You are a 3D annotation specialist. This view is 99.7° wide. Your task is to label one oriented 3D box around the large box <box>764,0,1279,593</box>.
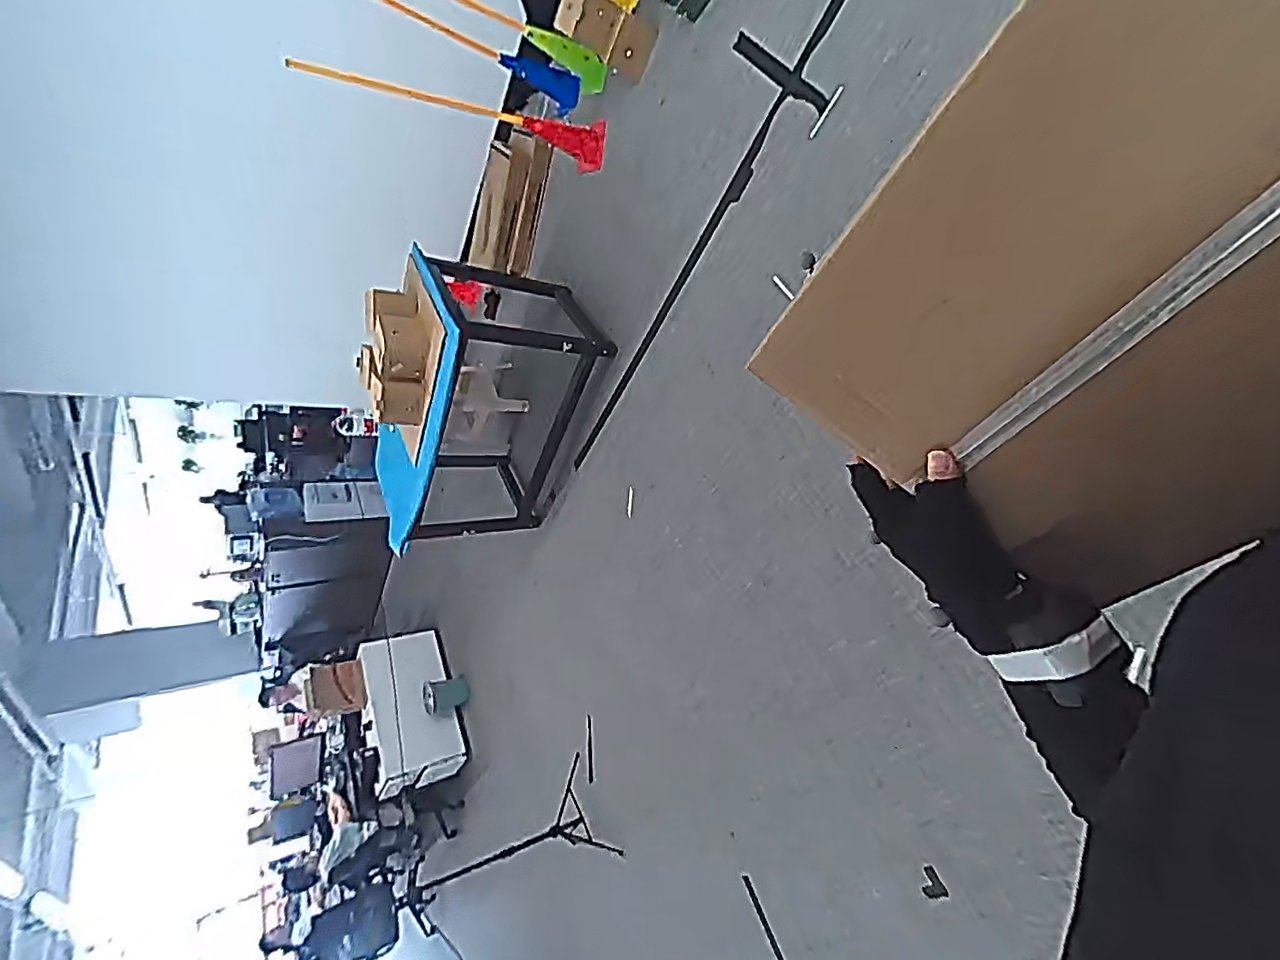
[{"bbox_3d":[0.359,-0.199,0.400,0.320,0.320,0.408,36,131,1],"label":"large box"}]
